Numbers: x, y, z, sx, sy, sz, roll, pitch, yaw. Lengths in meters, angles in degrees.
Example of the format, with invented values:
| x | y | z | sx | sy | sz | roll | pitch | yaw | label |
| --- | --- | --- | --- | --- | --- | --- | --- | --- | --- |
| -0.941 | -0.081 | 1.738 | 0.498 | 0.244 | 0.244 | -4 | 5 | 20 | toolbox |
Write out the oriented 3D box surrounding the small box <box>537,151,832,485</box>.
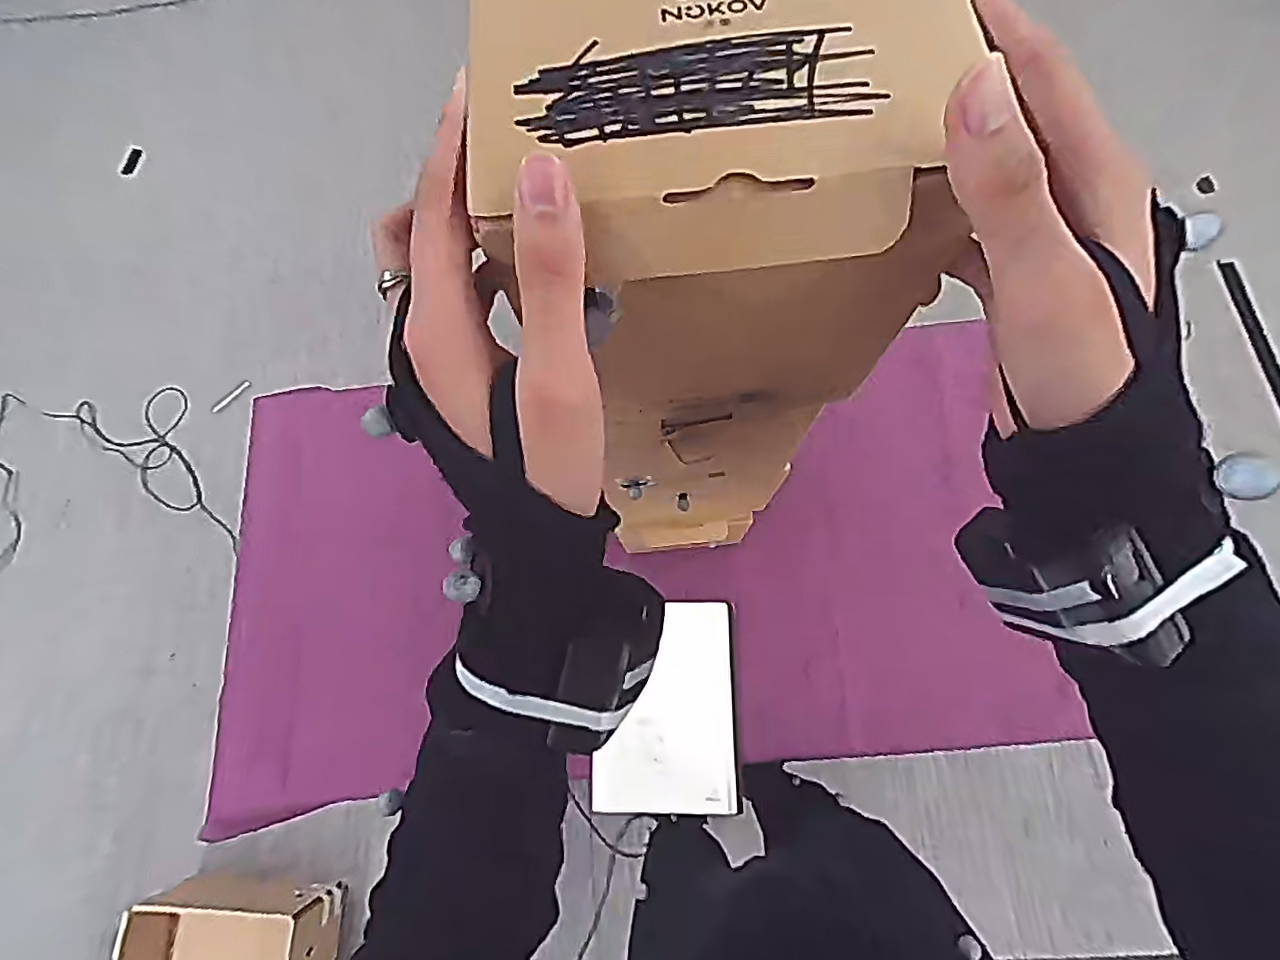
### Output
| x | y | z | sx | sy | sz | roll | pitch | yaw | label |
| --- | --- | --- | --- | --- | --- | --- | --- | --- | --- |
| 0.027 | -0.101 | 0.412 | 0.168 | 0.176 | 0.179 | -8 | 73 | 2 | small box |

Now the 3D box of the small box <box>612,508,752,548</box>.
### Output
| x | y | z | sx | sy | sz | roll | pitch | yaw | label |
| --- | --- | --- | --- | --- | --- | --- | --- | --- | --- |
| 0.050 | -0.005 | 0.726 | 0.168 | 0.176 | 0.179 | -5 | 74 | 2 | small box |

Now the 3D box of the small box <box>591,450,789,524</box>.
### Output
| x | y | z | sx | sy | sz | roll | pitch | yaw | label |
| --- | --- | --- | --- | --- | --- | --- | --- | --- | --- |
| 0.042 | -0.054 | 0.569 | 0.179 | 0.176 | 0.168 | -7 | 75 | 1 | small box |
